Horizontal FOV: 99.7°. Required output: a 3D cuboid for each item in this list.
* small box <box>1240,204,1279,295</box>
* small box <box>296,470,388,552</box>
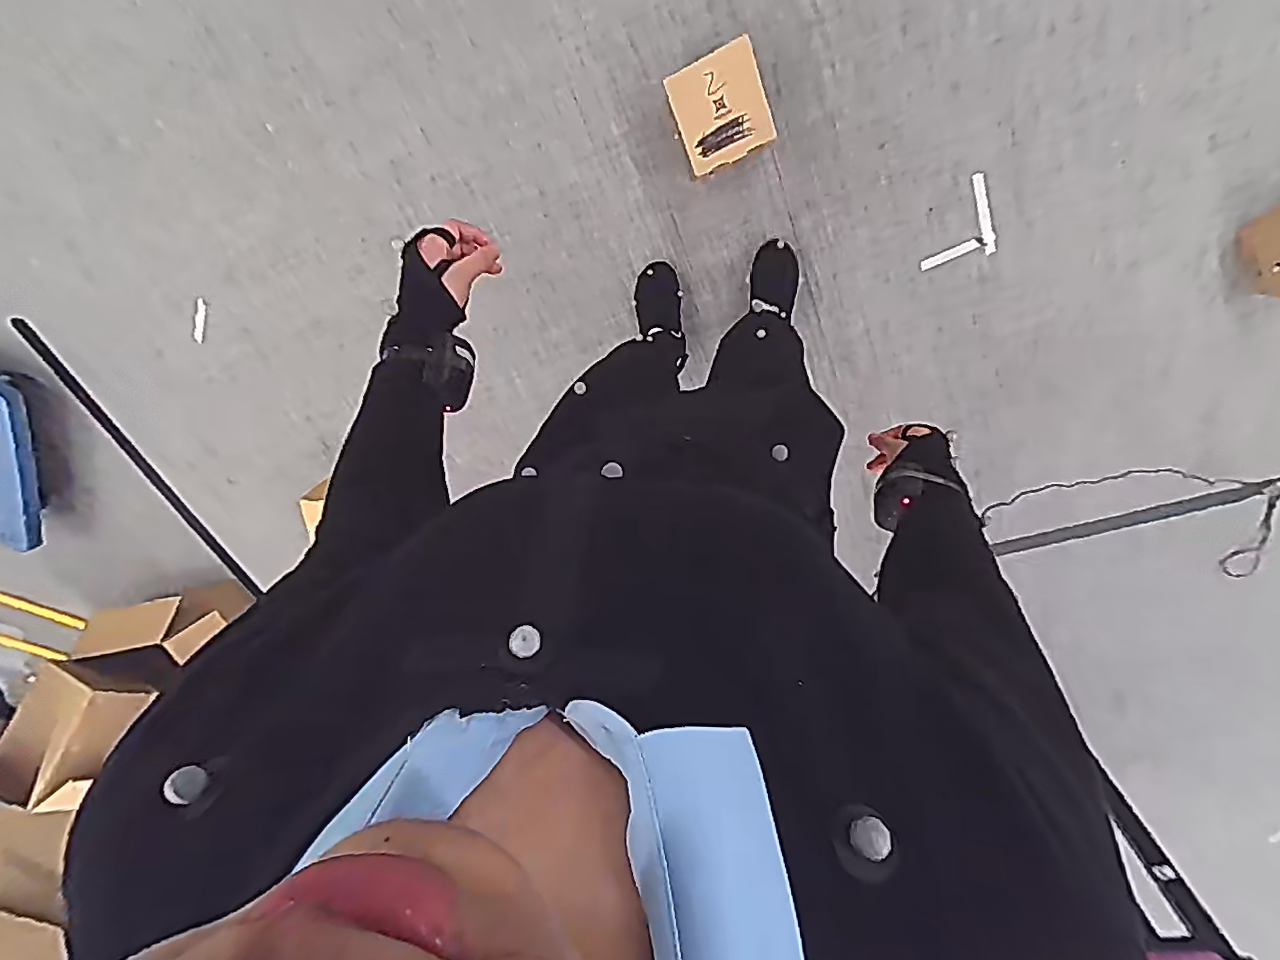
[{"bbox_3d":[1.378,-0.481,1.084,0.179,0.176,0.168,-34,110,20],"label":"small box"},{"bbox_3d":[-0.879,0.091,1.615,0.168,0.176,0.179,5,118,4],"label":"small box"}]
